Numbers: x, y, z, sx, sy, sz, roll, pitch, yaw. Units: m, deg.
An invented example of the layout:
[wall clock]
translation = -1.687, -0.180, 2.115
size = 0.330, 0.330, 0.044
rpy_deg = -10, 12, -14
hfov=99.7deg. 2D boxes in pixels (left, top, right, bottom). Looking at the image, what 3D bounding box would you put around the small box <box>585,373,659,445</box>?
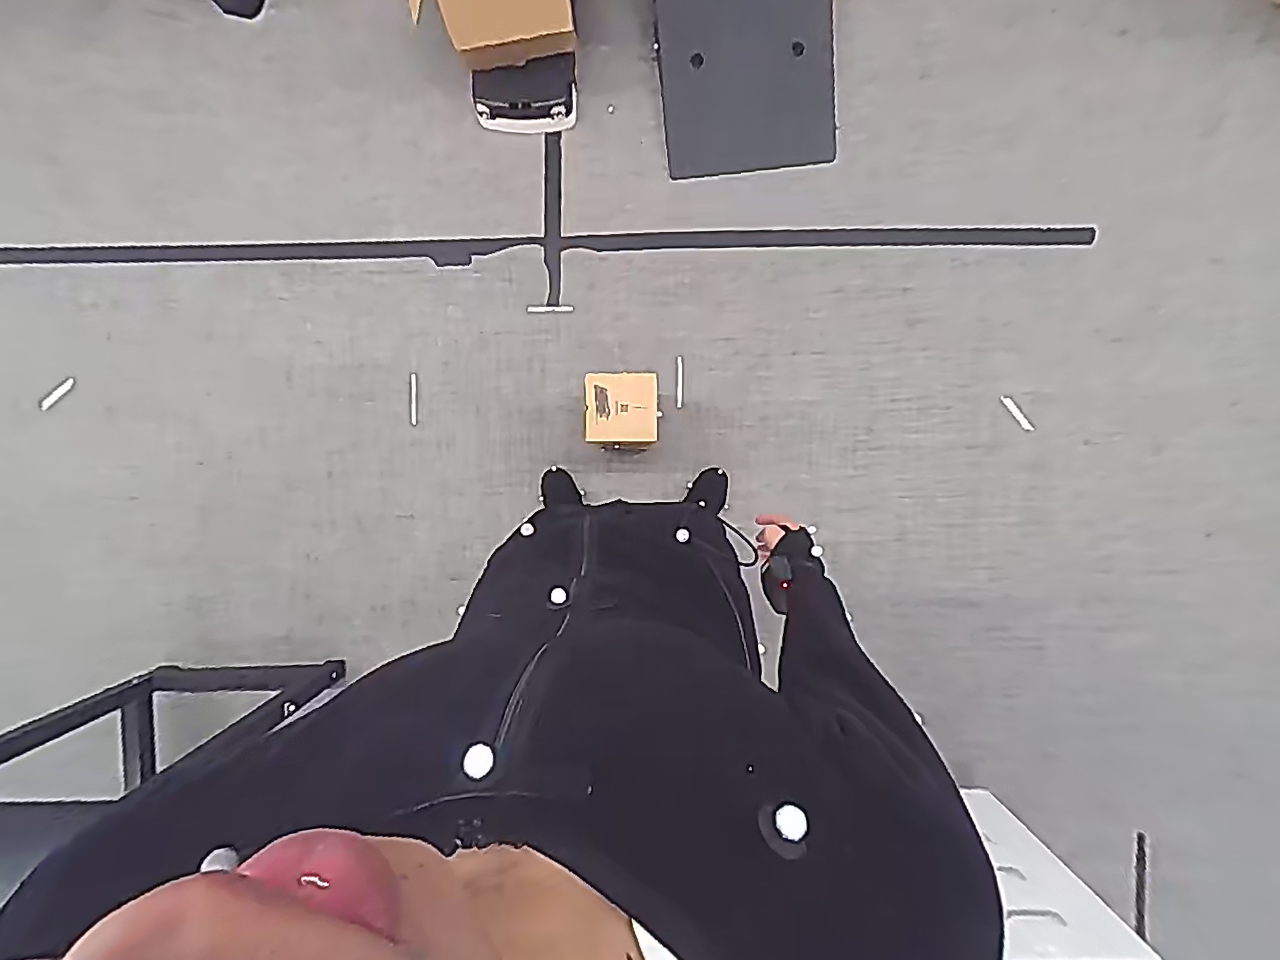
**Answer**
[small box]
translation = -0.043, -0.174, 1.370
size = 0.179, 0.176, 0.168
rpy_deg = 0, 92, -1
